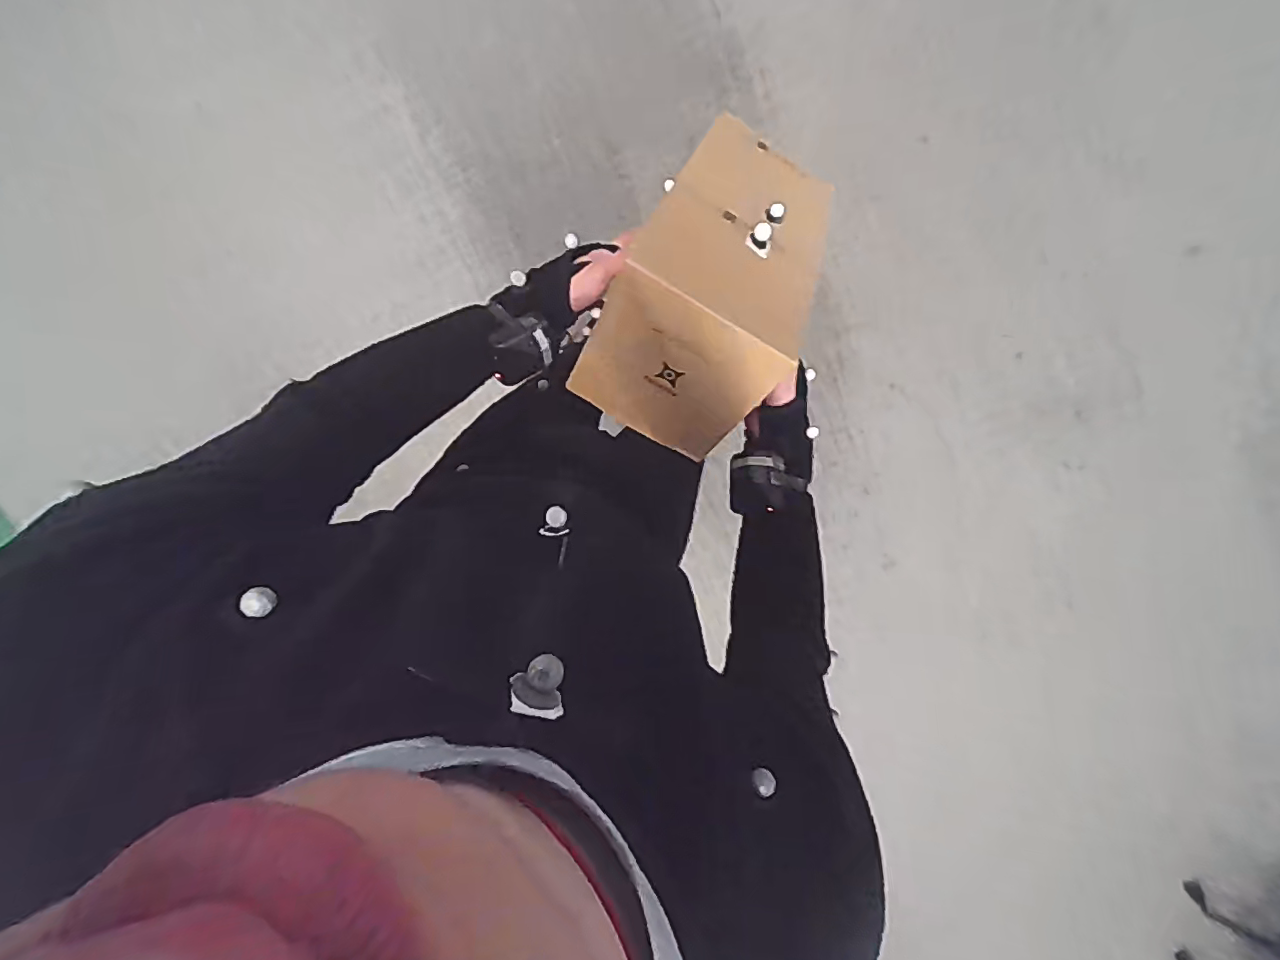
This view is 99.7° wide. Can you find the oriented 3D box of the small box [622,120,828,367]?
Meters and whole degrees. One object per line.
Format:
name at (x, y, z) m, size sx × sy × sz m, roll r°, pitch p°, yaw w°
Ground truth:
small box at (0.105, -0.279, 0.651) m, size 0.168 × 0.176 × 0.179 m, roll 29°, pitch 144°, yaw -9°
